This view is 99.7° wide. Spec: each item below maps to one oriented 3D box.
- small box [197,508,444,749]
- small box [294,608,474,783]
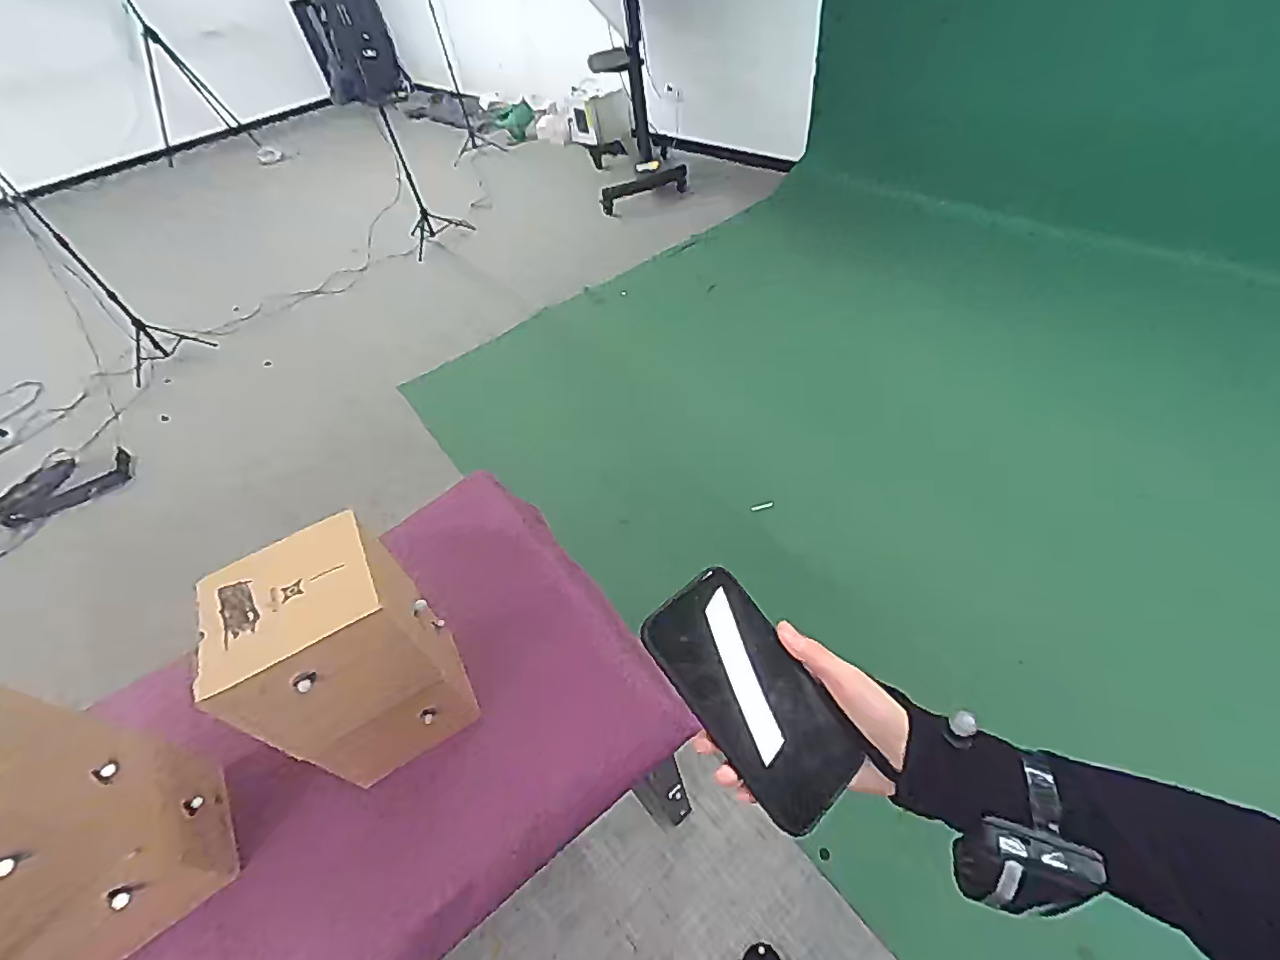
[{"bbox_3d":[-0.357,0.172,0.622,0.179,0.176,0.168,-28,48,-15],"label":"small box"},{"bbox_3d":[-0.349,0.278,0.748,0.179,0.176,0.168,-29,48,-14],"label":"small box"}]
